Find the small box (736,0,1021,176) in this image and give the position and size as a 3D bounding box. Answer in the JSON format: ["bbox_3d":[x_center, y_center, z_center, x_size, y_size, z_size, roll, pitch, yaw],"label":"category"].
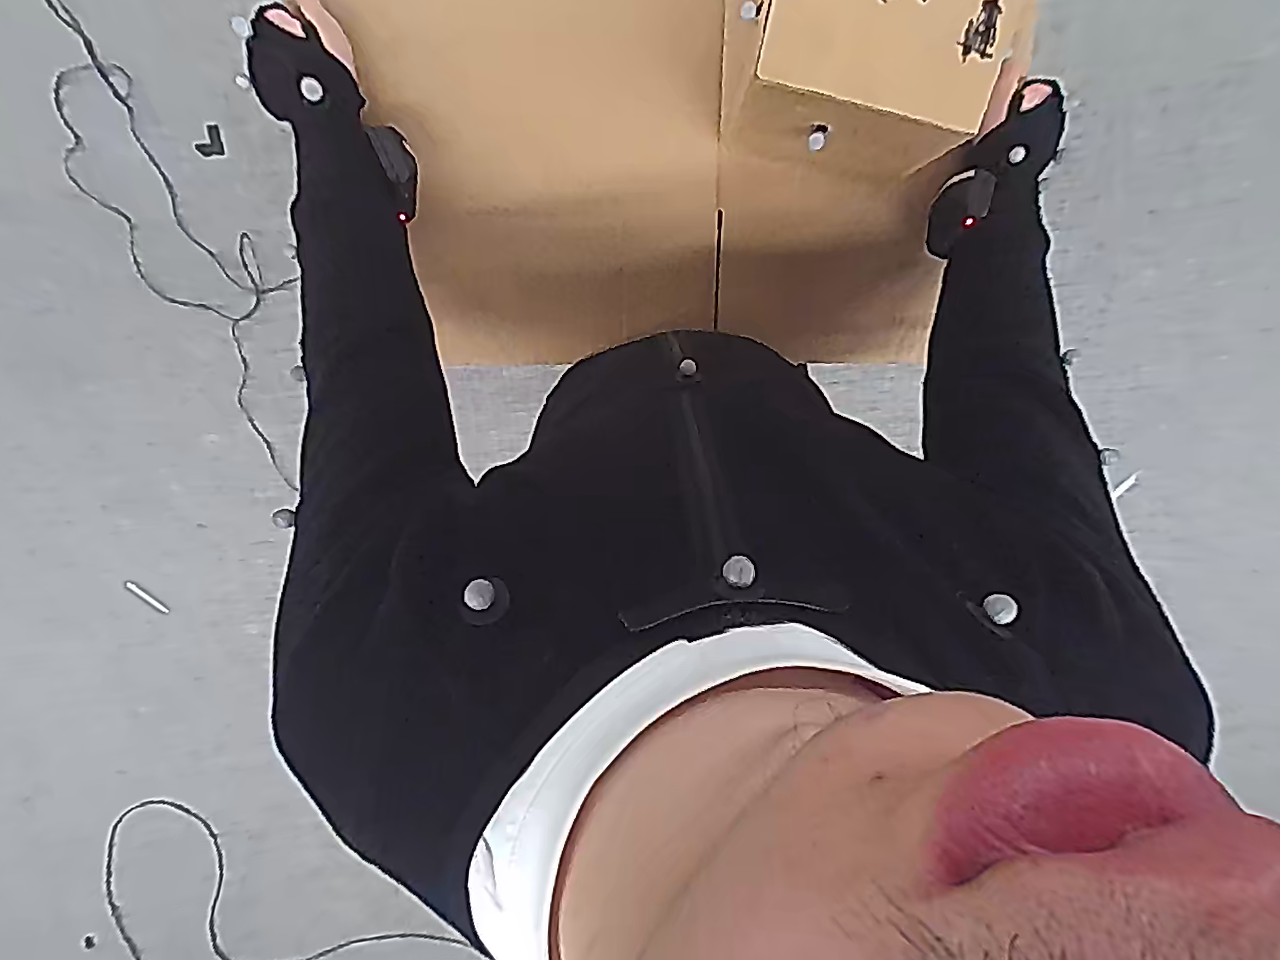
[{"bbox_3d":[0.190,-0.381,0.459,0.179,0.176,0.168,13,107,-1],"label":"small box"}]
